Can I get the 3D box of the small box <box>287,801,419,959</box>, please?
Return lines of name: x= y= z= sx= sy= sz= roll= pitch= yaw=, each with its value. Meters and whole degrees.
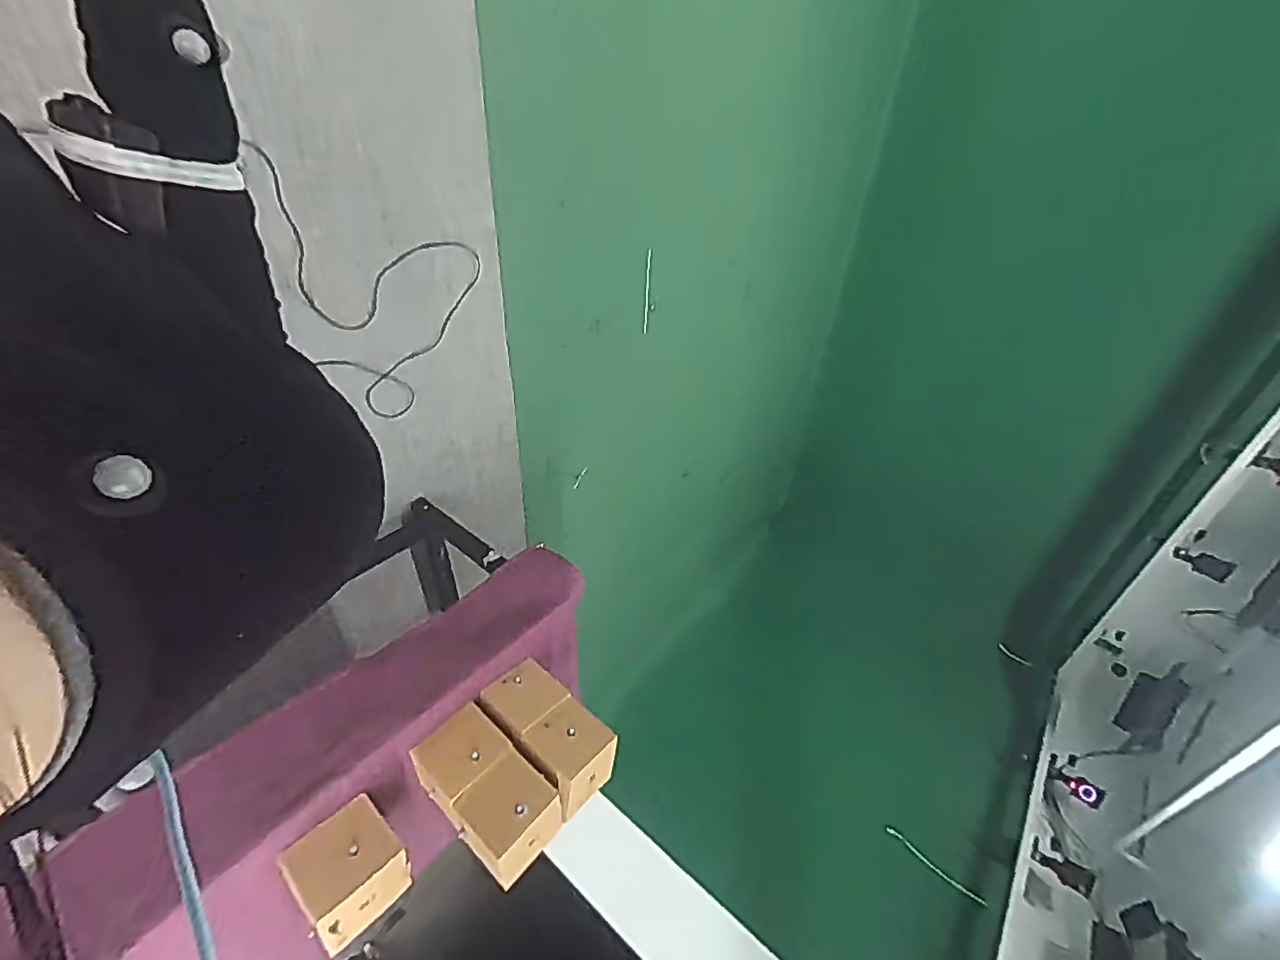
small box: x=-0.590 y=0.821 z=1.123 sx=0.179 sy=0.176 sz=0.168 roll=-29 pitch=136 yaw=-46
